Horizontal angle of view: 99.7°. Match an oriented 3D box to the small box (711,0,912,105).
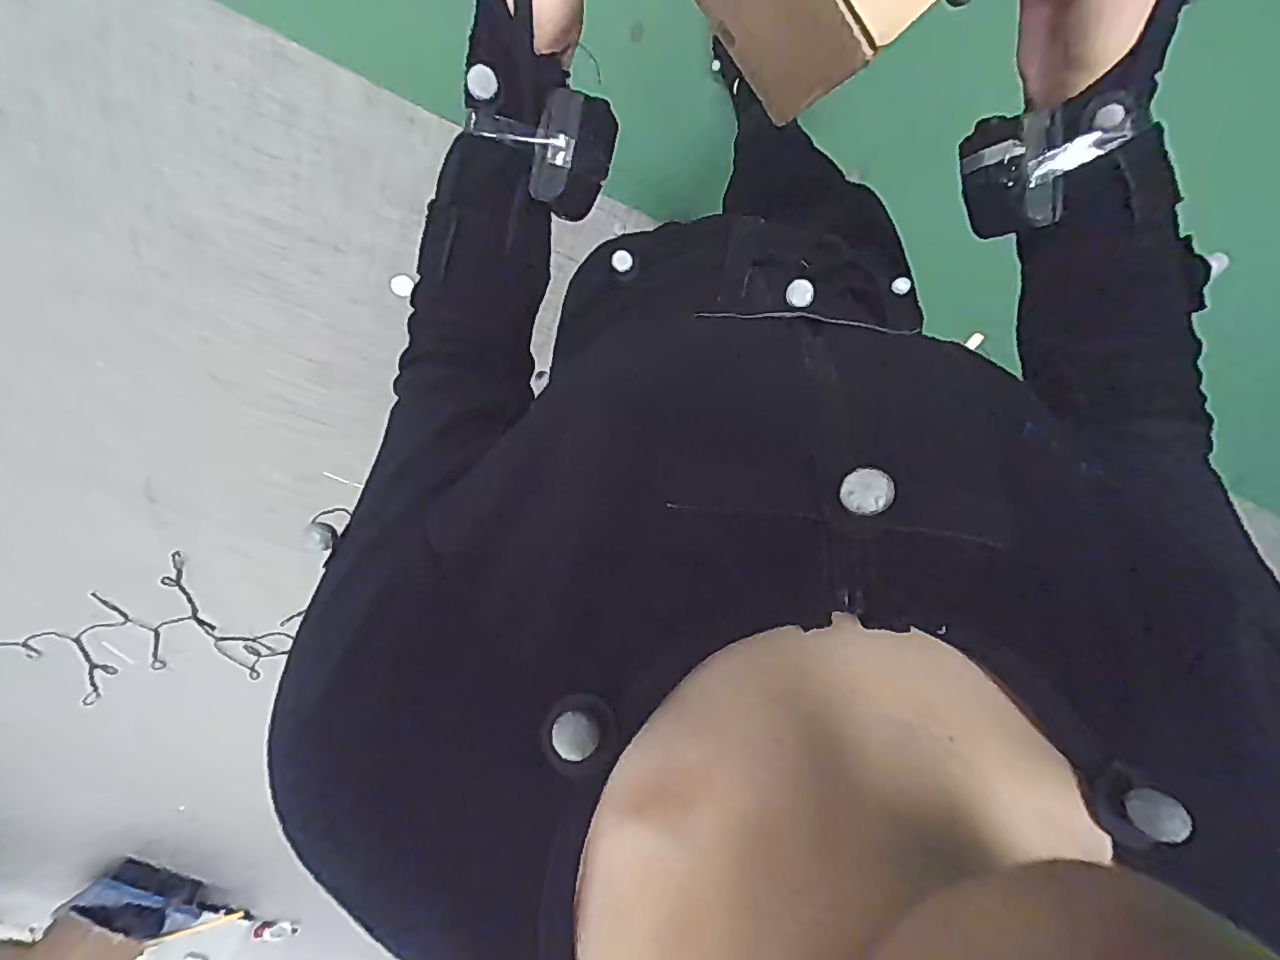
[{"bbox_3d":[0.099,-0.310,0.235,0.179,0.176,0.168,-38,108,18],"label":"small box"}]
